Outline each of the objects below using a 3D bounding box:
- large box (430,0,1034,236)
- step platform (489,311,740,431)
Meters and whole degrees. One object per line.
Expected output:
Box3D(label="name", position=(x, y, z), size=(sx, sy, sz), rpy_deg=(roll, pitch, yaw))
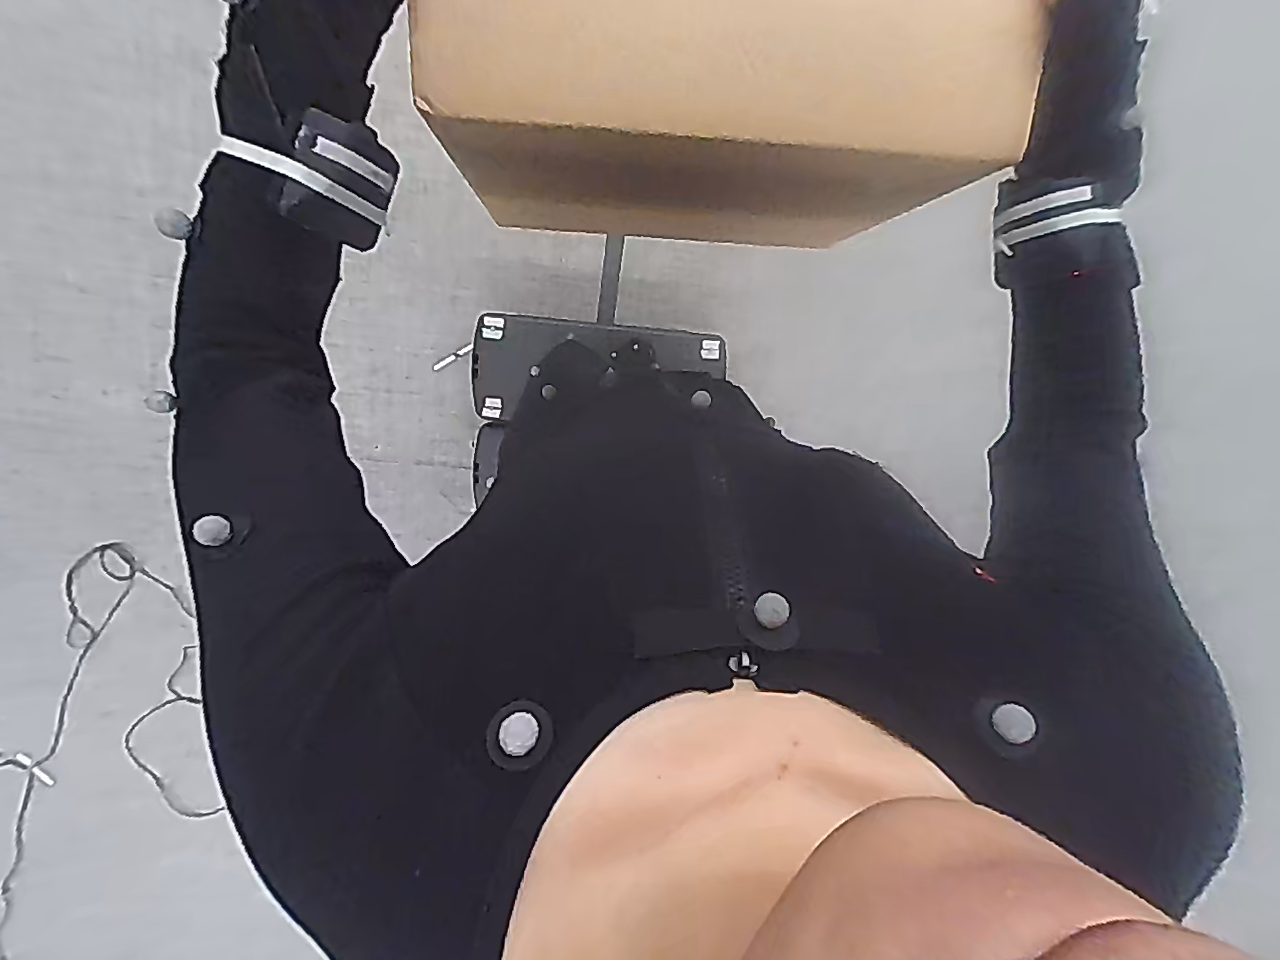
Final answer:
Box3D(label="large box", position=(0.052, -0.416, 0.474), size=(0.408, 0.320, 0.320), rpy_deg=(0, 103, -6))
Box3D(label="step platform", position=(-0.068, -0.300, 1.512), size=(0.684, 0.204, 0.286), rpy_deg=(3, 102, -7))
